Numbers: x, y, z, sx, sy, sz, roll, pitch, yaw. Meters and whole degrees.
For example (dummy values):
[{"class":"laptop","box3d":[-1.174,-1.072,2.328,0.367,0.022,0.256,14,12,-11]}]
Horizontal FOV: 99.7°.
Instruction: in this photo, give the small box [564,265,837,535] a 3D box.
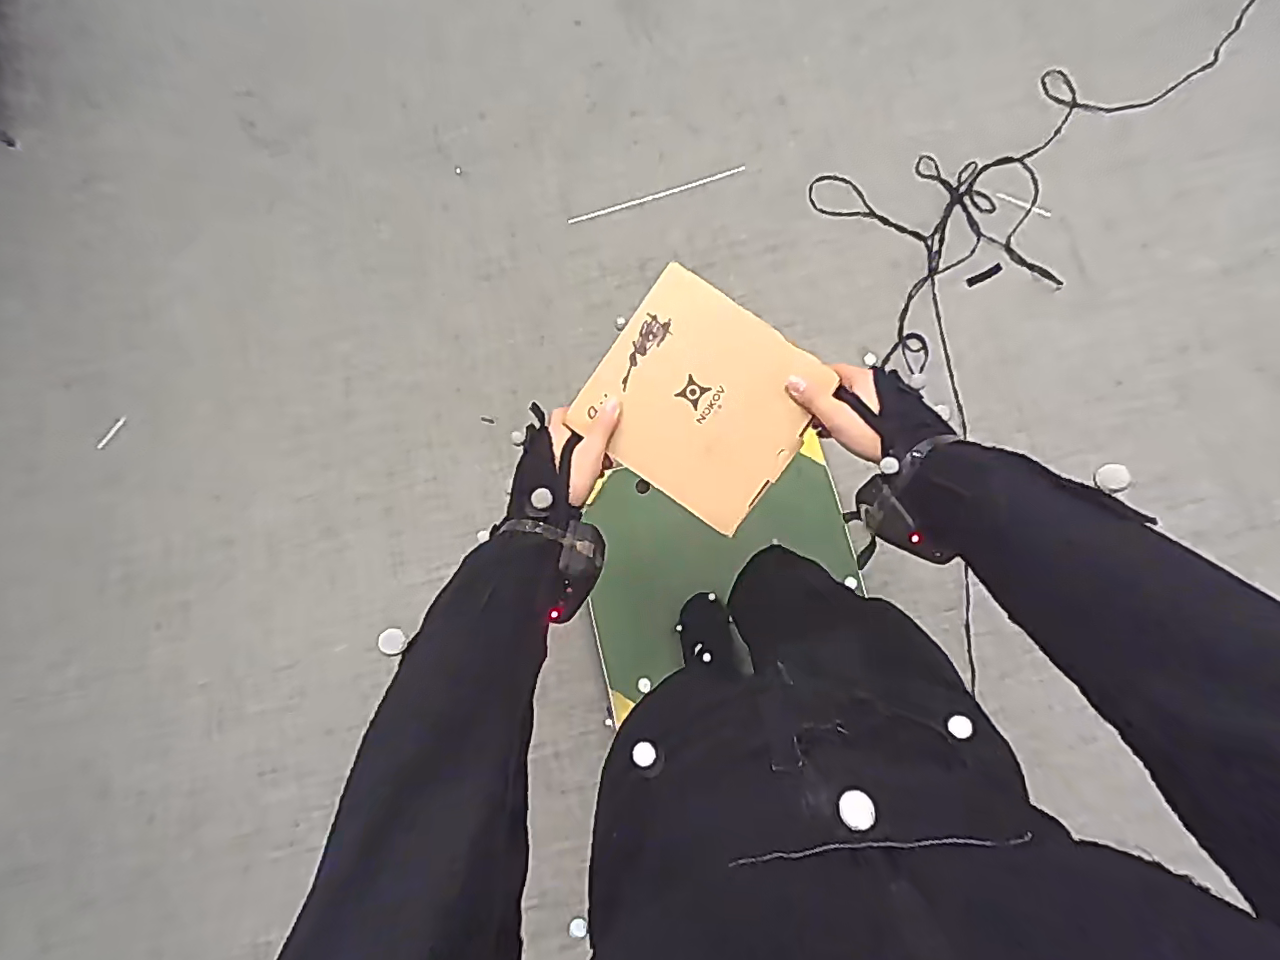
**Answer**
[{"class":"small box","box3d":[0.053,-0.069,0.535,0.179,0.176,0.168,35,91,1]}]
